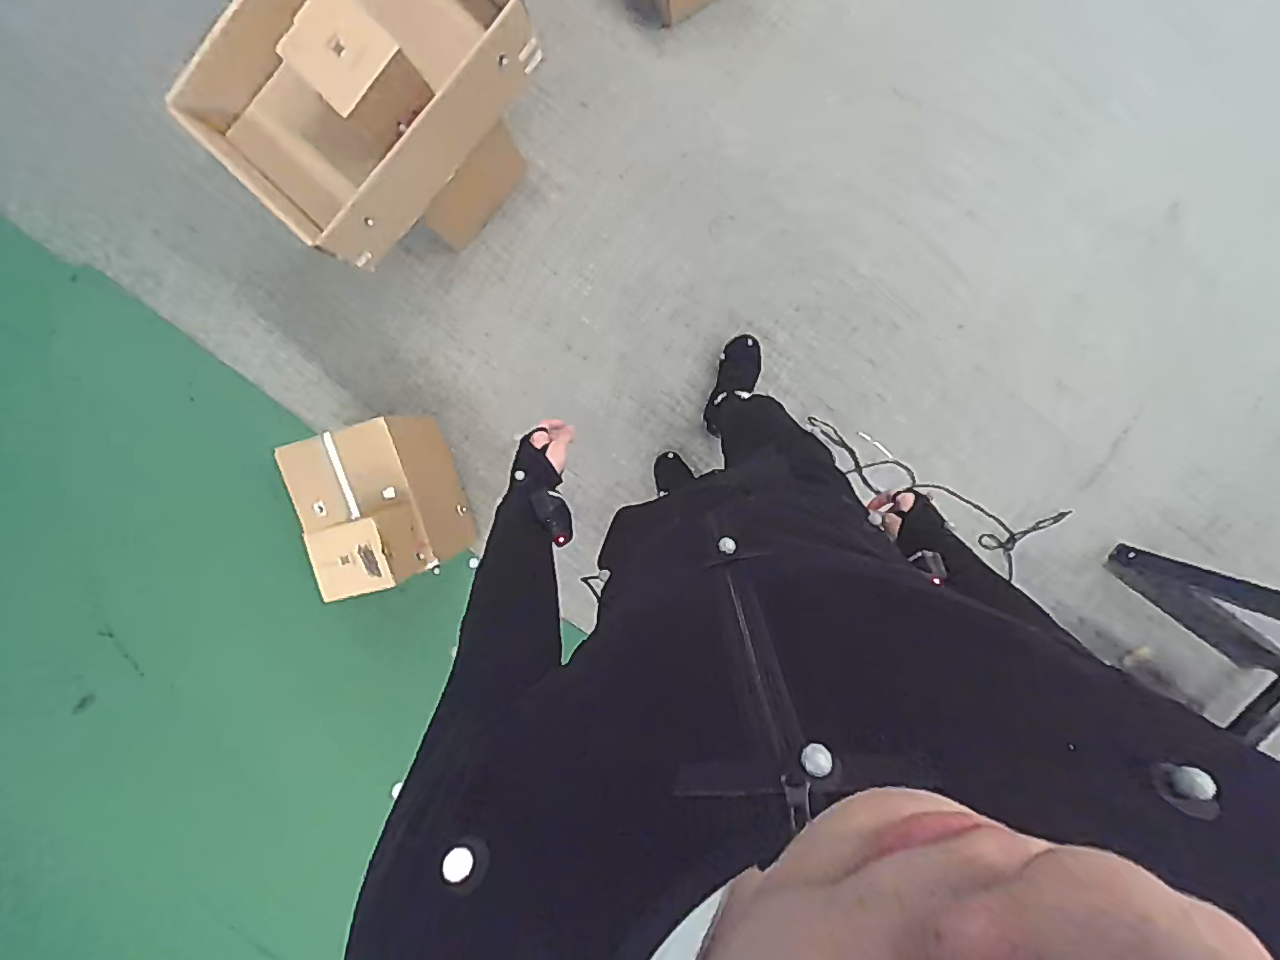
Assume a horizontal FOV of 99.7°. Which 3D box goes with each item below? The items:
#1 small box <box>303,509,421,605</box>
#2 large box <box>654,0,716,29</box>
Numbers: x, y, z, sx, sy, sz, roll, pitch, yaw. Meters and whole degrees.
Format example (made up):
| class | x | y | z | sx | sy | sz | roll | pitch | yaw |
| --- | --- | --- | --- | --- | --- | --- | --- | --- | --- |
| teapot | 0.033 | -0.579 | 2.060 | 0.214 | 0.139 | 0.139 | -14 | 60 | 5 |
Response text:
| class | x | y | z | sx | sy | sz | roll | pitch | yaw |
| --- | --- | --- | --- | --- | --- | --- | --- | --- | --- |
| small box | -0.642 | 0.174 | 1.278 | 0.179 | 0.176 | 0.168 | -14 | 95 | 5 |
| large box | 0.168 | -1.422 | 1.282 | 0.408 | 0.320 | 0.320 | -29 | 95 | 7 |
